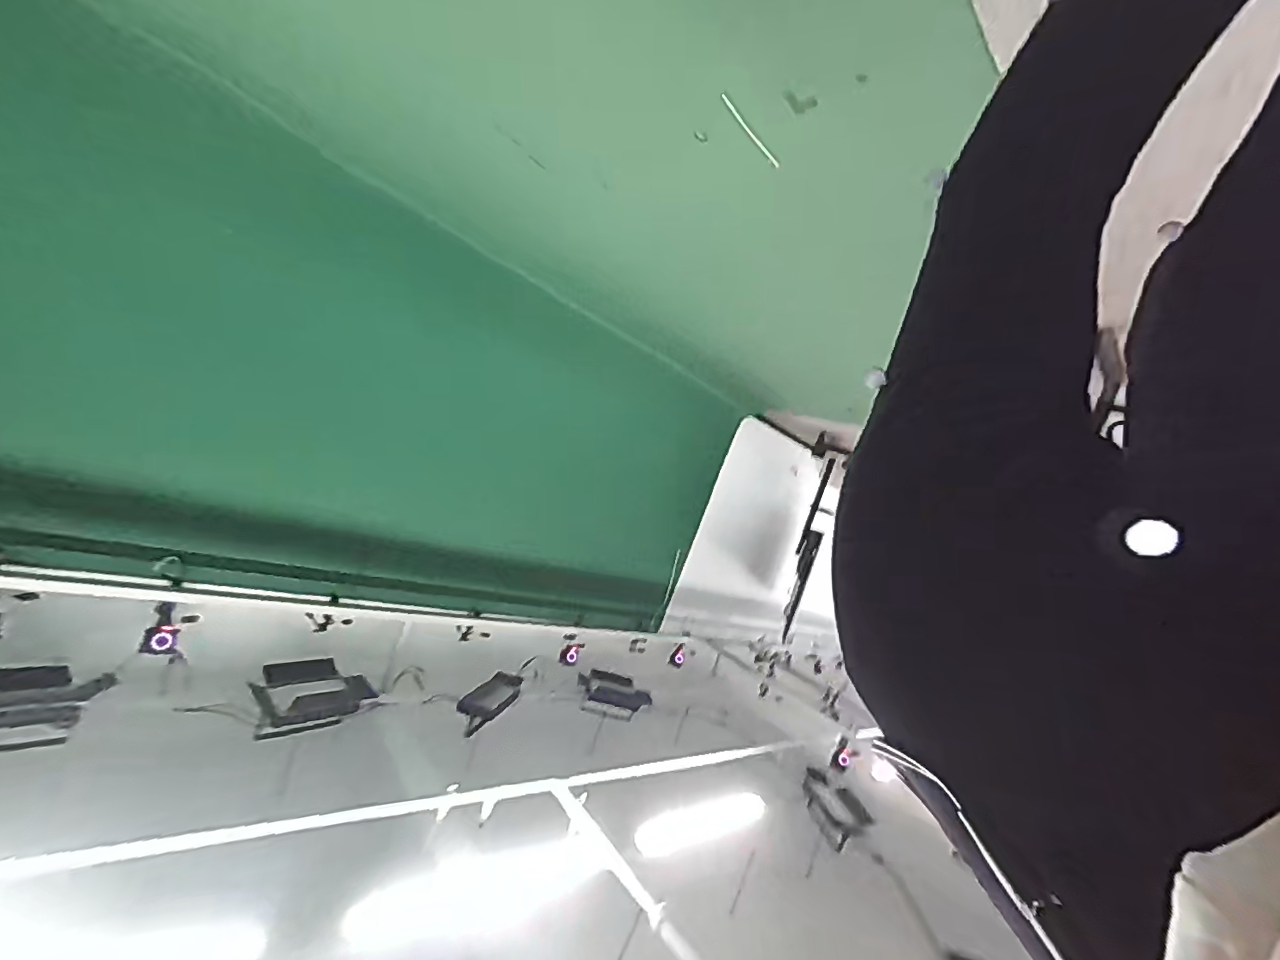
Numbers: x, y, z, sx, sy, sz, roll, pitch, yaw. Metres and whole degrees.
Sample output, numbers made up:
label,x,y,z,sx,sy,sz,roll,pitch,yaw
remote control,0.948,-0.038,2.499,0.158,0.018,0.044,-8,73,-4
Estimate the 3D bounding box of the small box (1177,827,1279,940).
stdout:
label,x,y,z,sx,sy,sz,roll,pitch,yaw
small box,1.641,1.111,1.506,0.179,0.176,0.168,18,-177,-44
